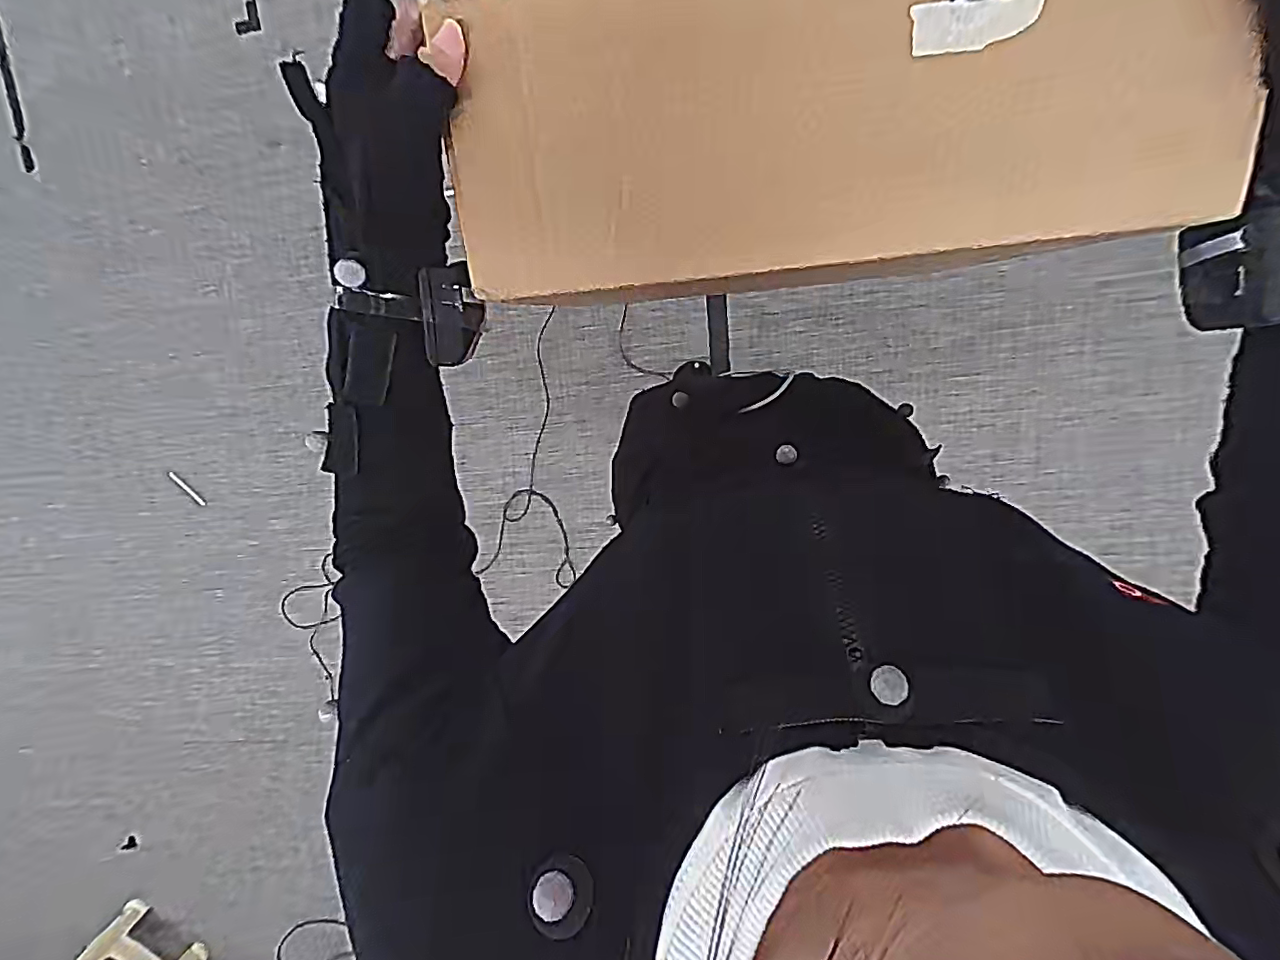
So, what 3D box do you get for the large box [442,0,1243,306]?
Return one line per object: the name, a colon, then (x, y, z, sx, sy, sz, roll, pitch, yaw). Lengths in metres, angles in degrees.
large box: (0.098, -0.318, 0.409, 0.408, 0.320, 0.320, -5, 107, 6)
